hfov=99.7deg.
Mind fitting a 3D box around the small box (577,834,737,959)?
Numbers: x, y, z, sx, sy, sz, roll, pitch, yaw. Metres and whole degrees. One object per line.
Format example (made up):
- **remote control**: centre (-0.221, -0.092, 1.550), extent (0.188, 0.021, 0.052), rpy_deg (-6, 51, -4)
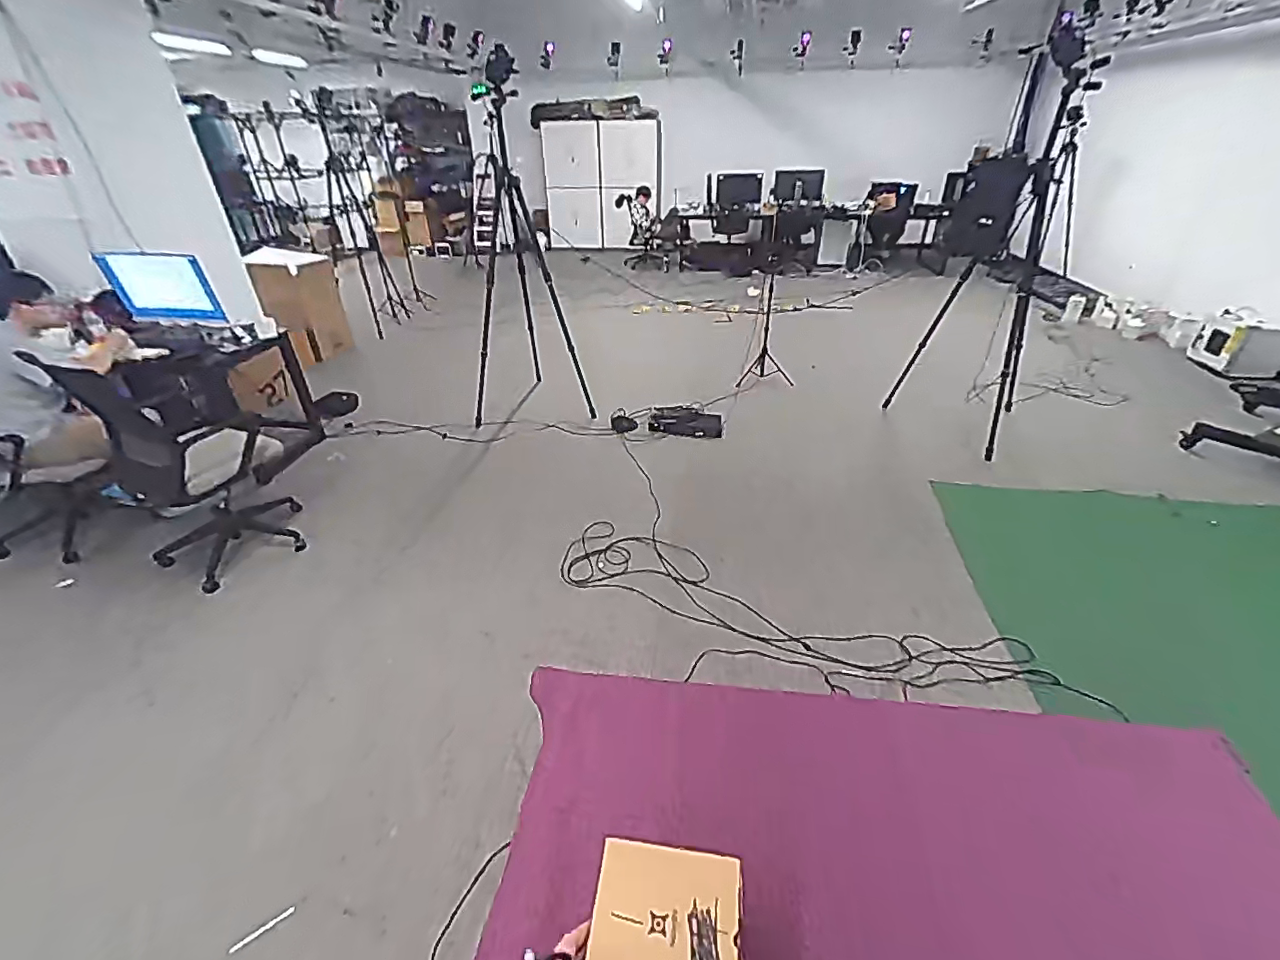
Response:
- **small box**: centre (0.025, 0.579, 0.673), extent (0.179, 0.176, 0.168), rpy_deg (3, 35, 9)
